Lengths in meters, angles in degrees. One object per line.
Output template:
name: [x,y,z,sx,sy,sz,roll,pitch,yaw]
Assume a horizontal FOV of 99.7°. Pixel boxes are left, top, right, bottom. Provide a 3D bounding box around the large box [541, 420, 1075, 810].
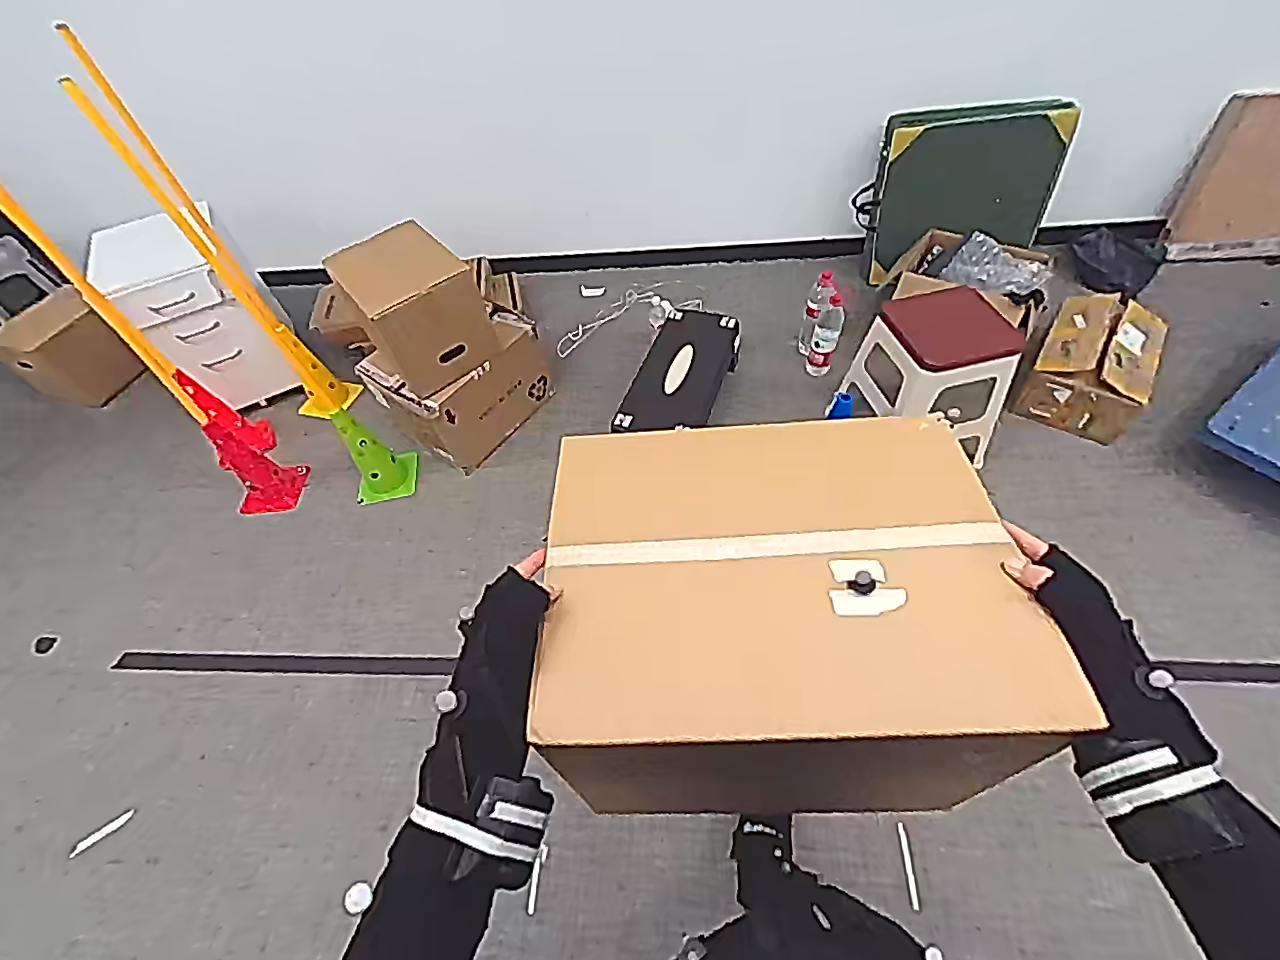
large box: [0.129,0.160,0.609,0.408,0.320,0.320,-3,49,4]
